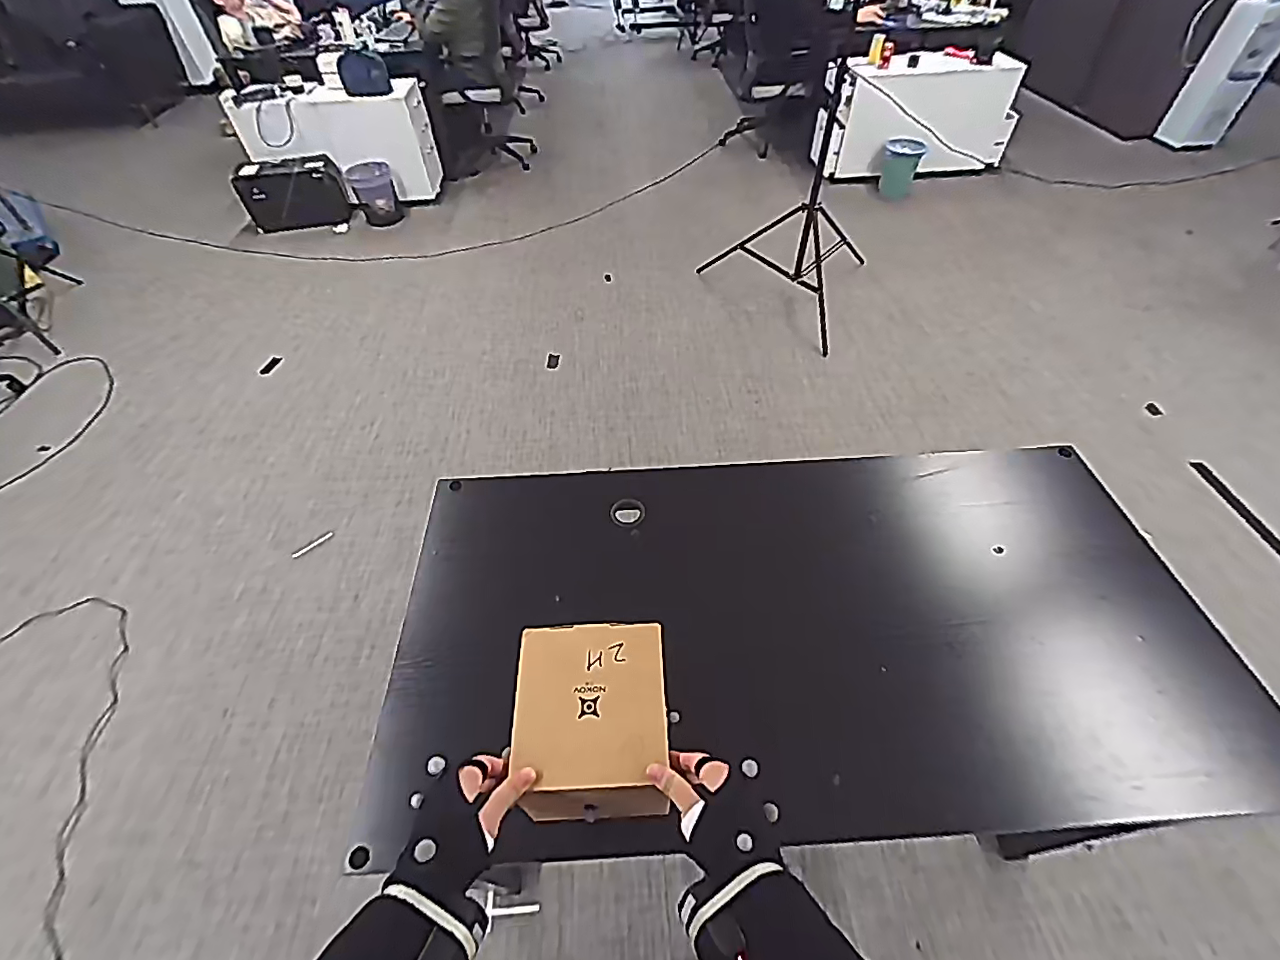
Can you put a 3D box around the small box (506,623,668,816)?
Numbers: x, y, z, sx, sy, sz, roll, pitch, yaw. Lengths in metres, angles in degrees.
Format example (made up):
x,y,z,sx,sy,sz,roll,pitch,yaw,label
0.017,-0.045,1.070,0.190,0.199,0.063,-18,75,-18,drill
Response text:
x,y,z,sx,sy,sz,roll,pitch,yaw,label
-0.053,0.293,0.653,0.168,0.176,0.179,-3,49,-1,small box
